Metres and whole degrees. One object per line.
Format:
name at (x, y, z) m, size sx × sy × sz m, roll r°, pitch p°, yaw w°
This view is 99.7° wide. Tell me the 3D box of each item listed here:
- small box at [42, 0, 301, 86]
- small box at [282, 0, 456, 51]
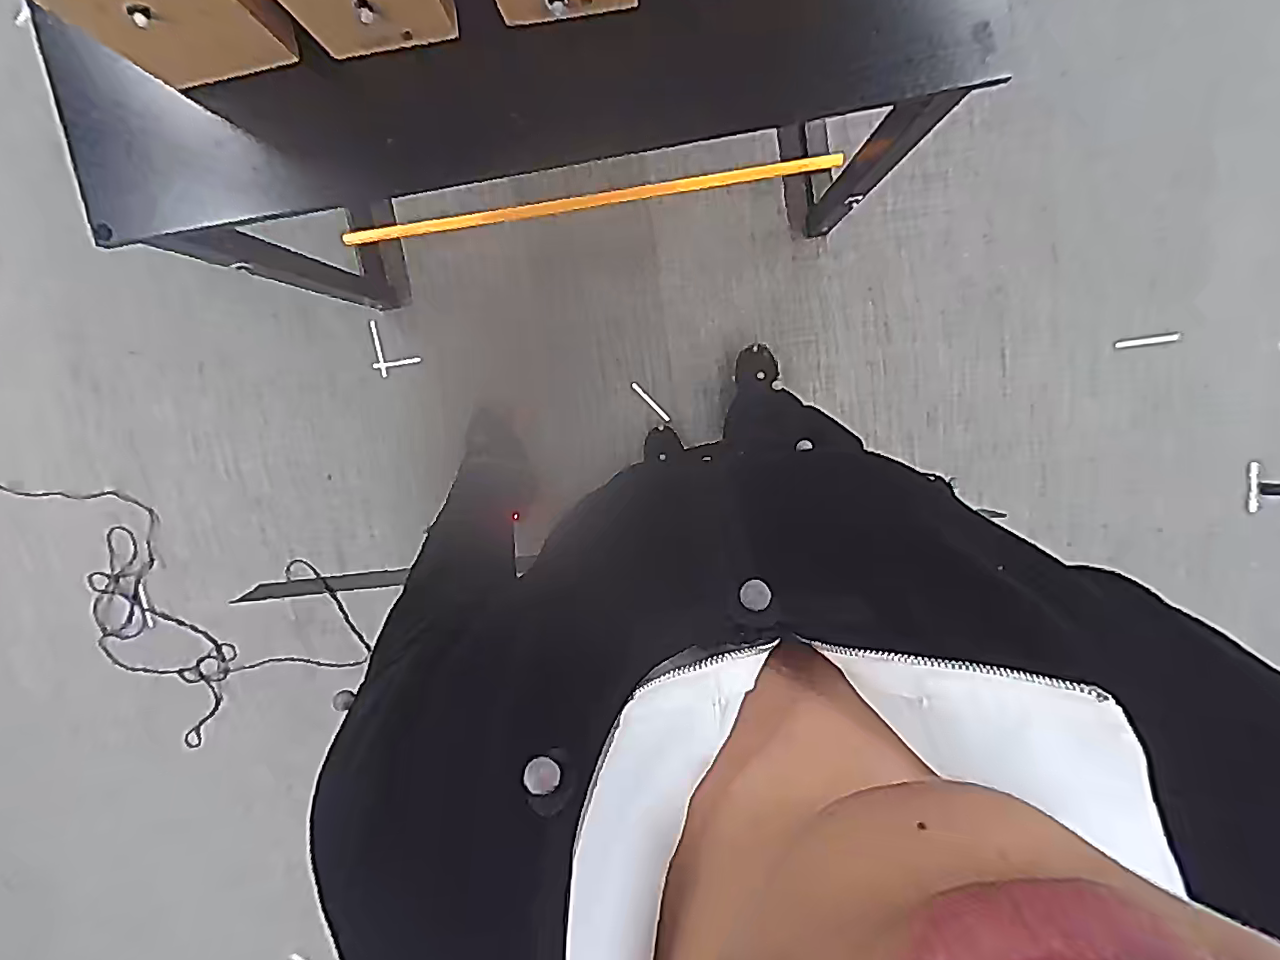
small box at (-0.534, -0.588, 0.610) m, size 0.179 × 0.176 × 0.168 m, roll -10°, pitch 99°, yaw 3°
small box at (-0.321, -0.618, 0.597) m, size 0.168 × 0.176 × 0.179 m, roll -7°, pitch 99°, yaw 4°
